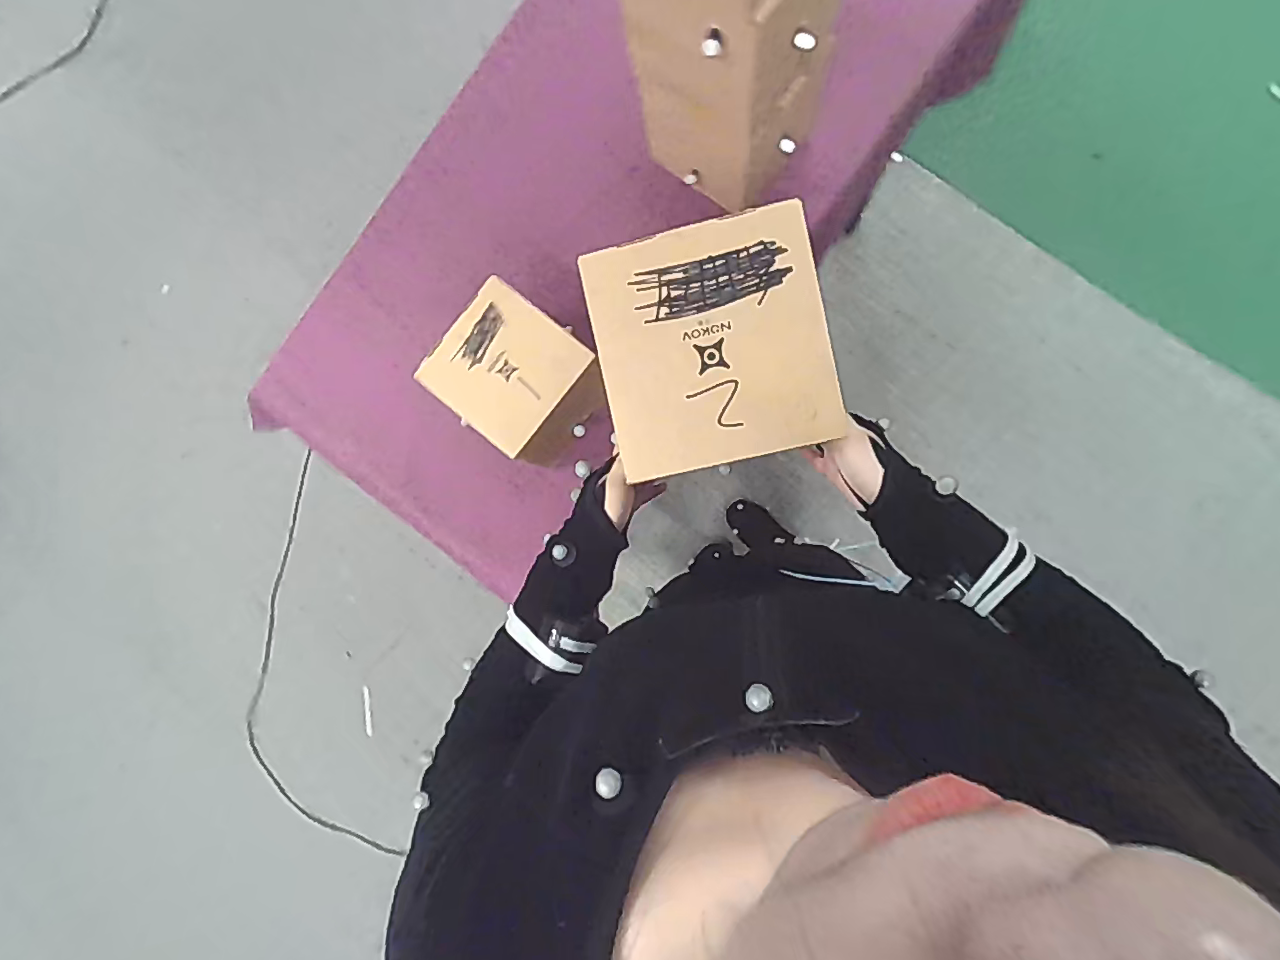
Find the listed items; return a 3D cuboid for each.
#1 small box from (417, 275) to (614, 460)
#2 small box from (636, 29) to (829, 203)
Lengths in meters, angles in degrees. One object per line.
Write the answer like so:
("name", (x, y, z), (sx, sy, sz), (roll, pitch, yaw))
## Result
("small box", (-0.159, -0.140, 0.751), (0.179, 0.176, 0.168), (39, 93, 7))
("small box", (0.119, -0.514, 0.732), (0.179, 0.176, 0.168), (37, 92, 7))
